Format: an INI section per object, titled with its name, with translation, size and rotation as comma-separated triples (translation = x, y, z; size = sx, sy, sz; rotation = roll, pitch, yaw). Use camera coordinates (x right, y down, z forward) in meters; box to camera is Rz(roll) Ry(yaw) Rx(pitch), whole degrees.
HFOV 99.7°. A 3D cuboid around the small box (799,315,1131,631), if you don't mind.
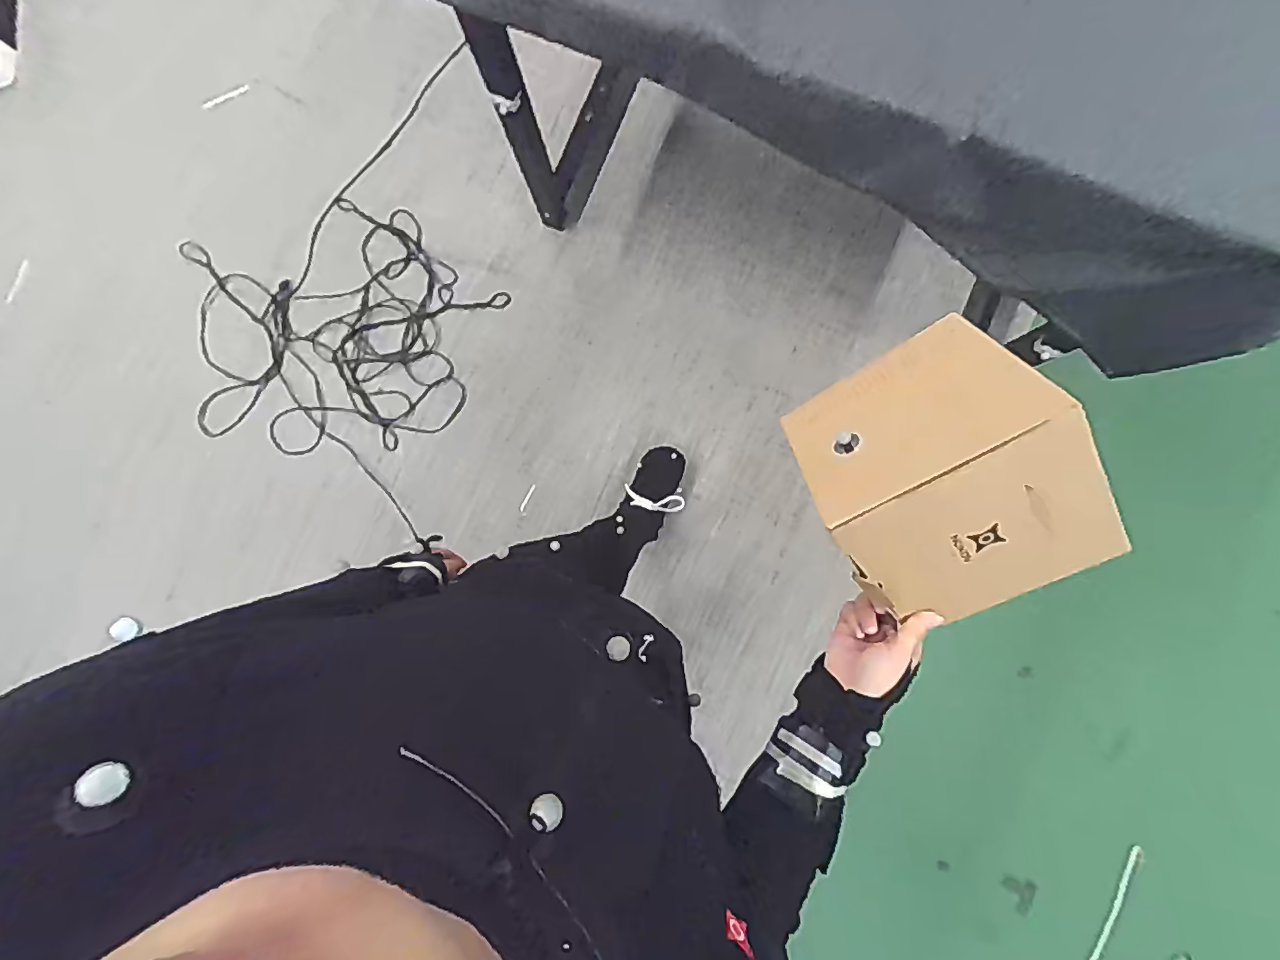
[small box]
translation = 0.258, -0.008, 0.471
size = 0.179, 0.176, 0.168
rotation = -34, 121, 21
